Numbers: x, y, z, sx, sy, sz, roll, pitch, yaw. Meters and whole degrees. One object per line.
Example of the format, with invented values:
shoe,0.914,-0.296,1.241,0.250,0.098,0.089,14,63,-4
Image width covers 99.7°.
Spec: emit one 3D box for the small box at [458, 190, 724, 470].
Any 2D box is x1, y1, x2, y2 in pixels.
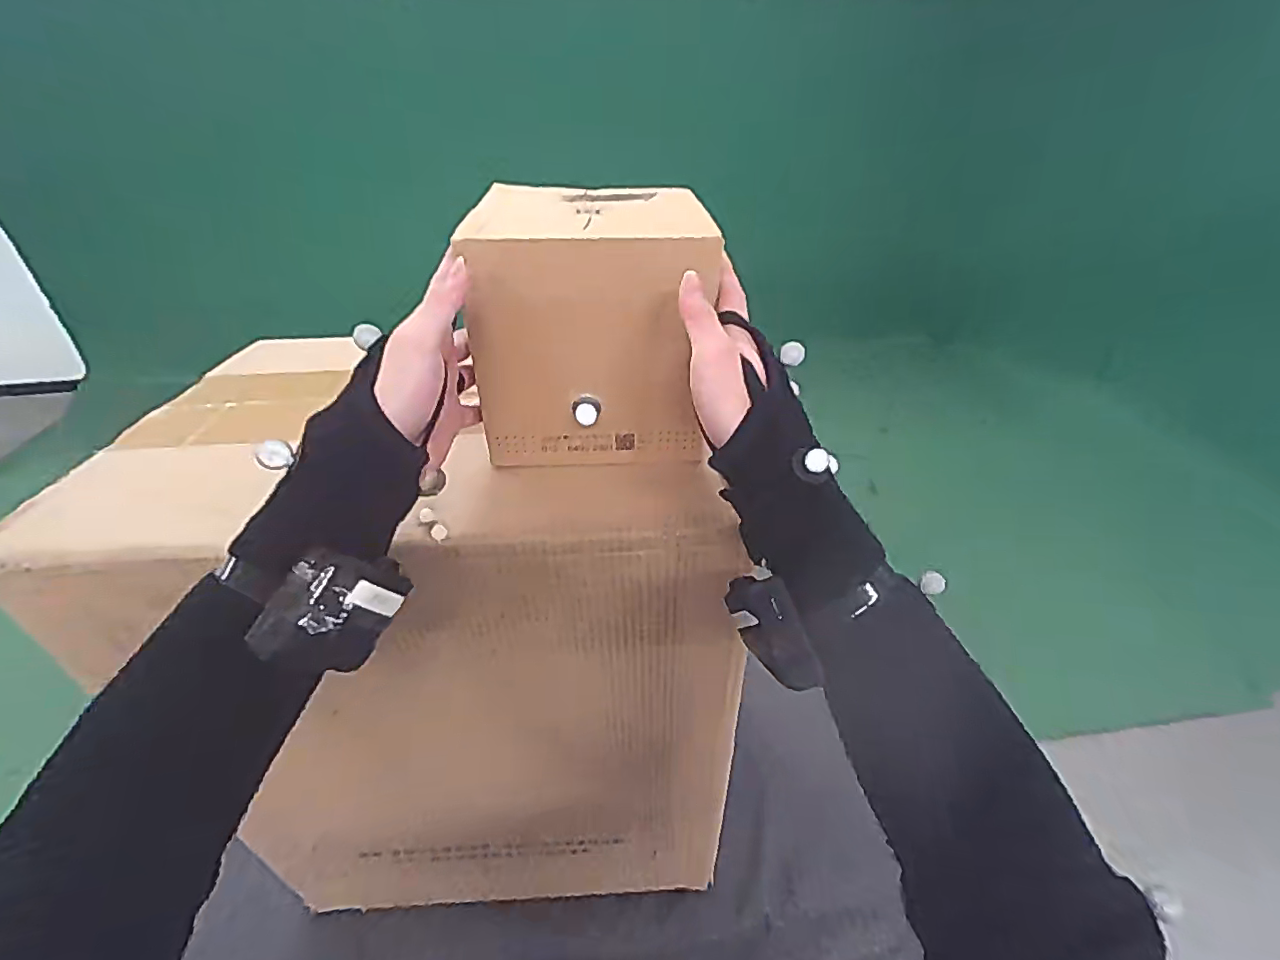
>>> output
small box,-0.034,-0.126,0.440,0.168,0.176,0.179,-1,38,-2
